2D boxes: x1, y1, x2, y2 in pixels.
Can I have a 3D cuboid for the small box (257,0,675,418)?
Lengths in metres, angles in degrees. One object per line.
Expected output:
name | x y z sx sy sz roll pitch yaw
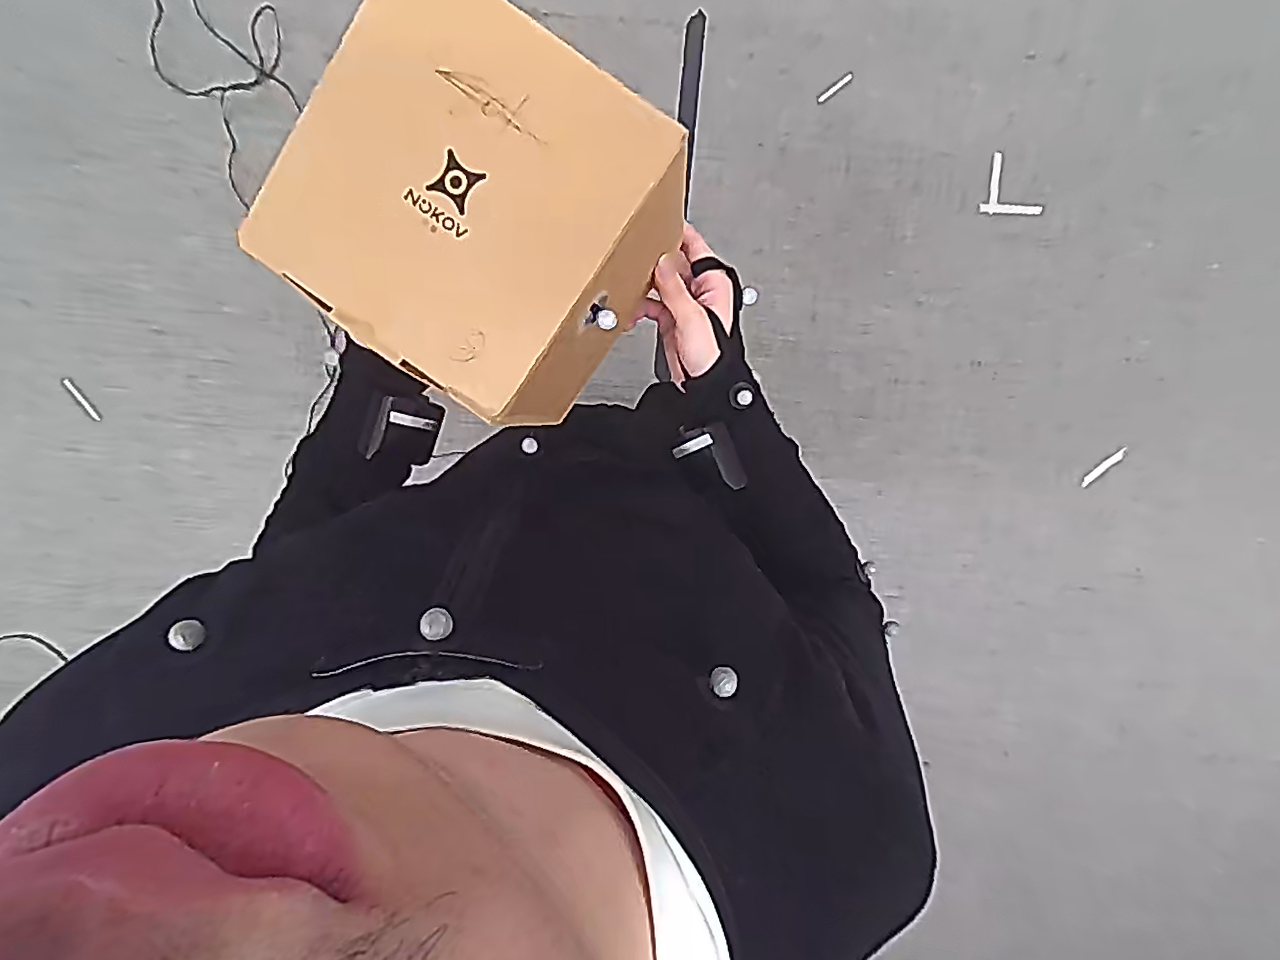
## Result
small box | -0.089 -0.157 0.360 0.168 0.176 0.179 35 97 -2
